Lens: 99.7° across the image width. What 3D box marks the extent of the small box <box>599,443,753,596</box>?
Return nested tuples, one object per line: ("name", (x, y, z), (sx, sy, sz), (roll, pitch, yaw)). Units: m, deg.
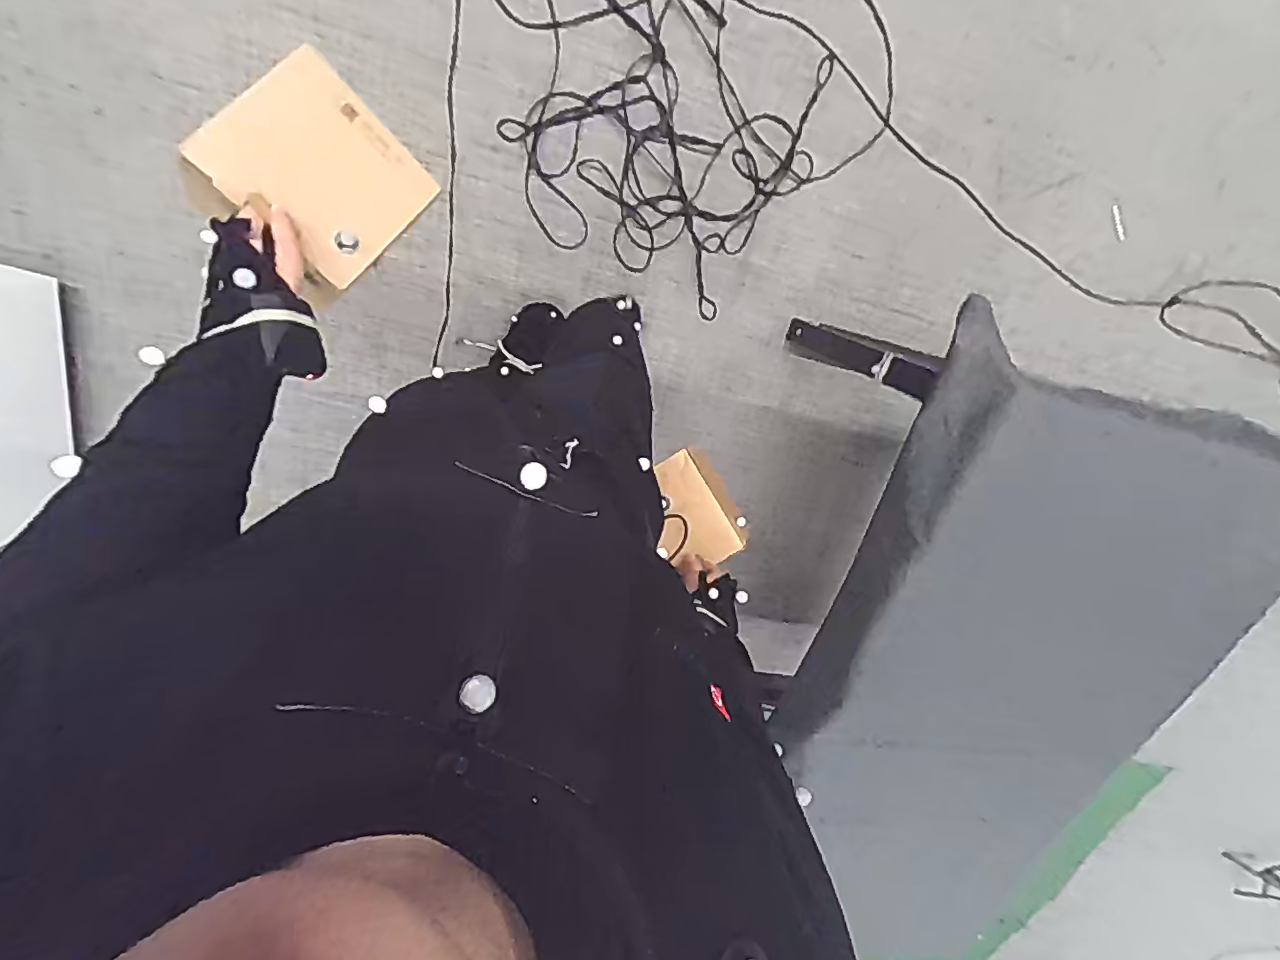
("small box", (0.062, 0.052, 0.849), (0.168, 0.179, 0.176), (-32, 87, 14))
